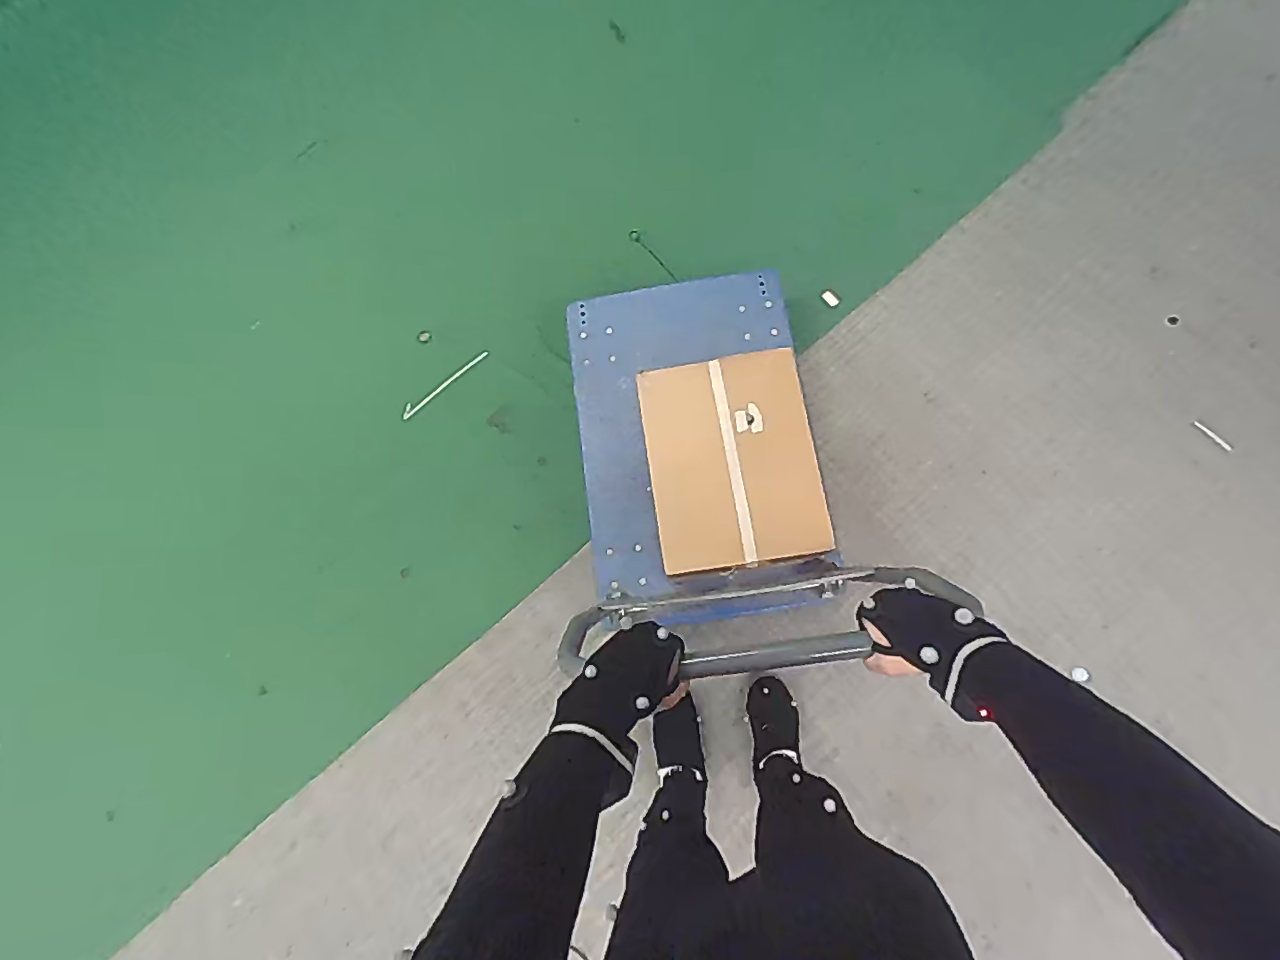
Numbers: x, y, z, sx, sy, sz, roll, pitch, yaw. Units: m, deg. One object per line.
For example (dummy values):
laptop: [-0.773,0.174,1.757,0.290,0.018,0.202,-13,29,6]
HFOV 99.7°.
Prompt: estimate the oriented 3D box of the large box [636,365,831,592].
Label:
large box: [0.186,0.018,1.187,0.320,0.320,0.408,-9,76,2]
